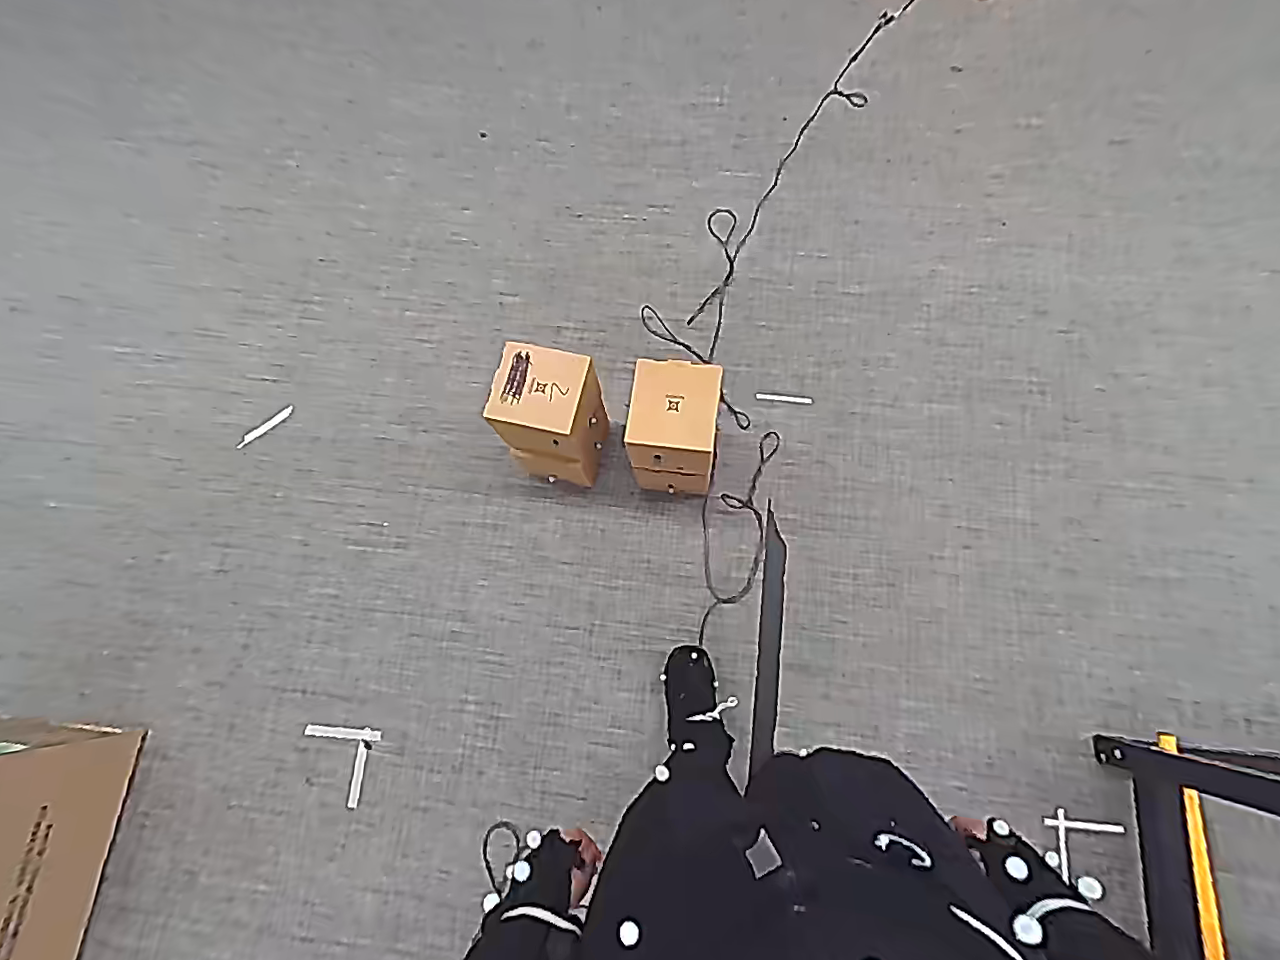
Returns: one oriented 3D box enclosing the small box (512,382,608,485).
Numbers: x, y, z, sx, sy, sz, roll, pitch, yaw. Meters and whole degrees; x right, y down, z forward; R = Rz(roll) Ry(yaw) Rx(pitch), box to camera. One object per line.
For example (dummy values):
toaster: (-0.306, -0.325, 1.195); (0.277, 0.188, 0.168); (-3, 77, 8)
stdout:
small box: (-0.176, -0.103, 1.260); (0.168, 0.176, 0.179); (12, 77, 7)

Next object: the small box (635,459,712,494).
small box: (0.086, -0.079, 1.238); (0.168, 0.176, 0.179); (7, 76, 7)

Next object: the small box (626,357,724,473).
small box: (0.073, -0.123, 1.082); (0.168, 0.176, 0.179); (7, 74, 6)
